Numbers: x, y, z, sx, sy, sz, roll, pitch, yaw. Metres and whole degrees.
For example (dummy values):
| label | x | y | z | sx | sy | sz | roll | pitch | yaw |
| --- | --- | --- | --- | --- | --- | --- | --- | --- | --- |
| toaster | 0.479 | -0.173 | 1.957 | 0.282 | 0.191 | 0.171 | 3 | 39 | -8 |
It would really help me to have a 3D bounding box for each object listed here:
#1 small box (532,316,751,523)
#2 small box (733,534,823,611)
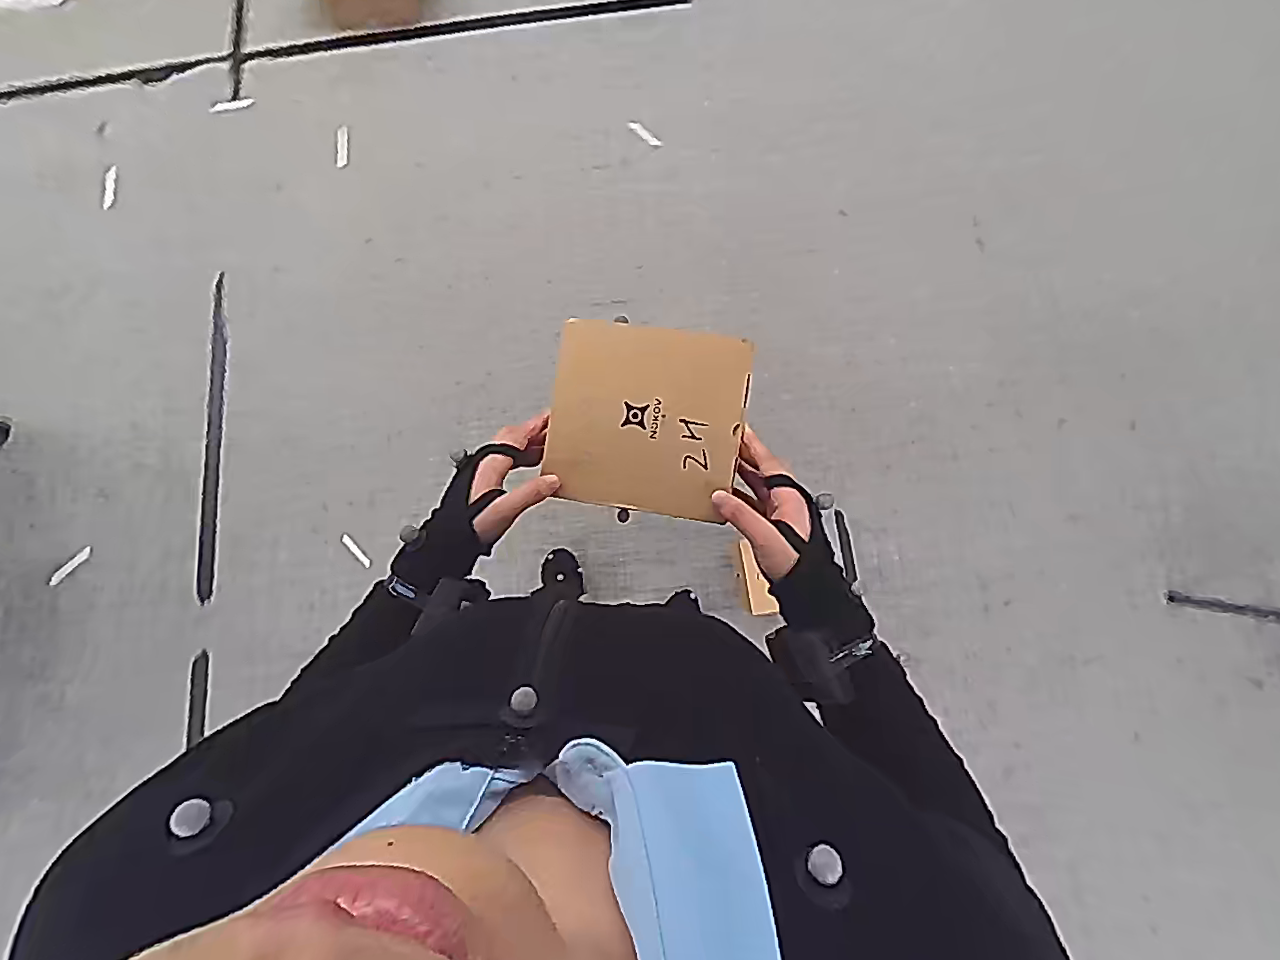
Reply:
| label | x | y | z | sx | sy | sz | roll | pitch | yaw |
| --- | --- | --- | --- | --- | --- | --- | --- | --- | --- |
| small box | 0.007 | -0.054 | 0.553 | 0.179 | 0.176 | 0.168 | 8 | 91 | 6 |
| small box | 0.352 | 0.239 | 1.410 | 0.179 | 0.176 | 0.168 | -11 | 79 | 1 |
